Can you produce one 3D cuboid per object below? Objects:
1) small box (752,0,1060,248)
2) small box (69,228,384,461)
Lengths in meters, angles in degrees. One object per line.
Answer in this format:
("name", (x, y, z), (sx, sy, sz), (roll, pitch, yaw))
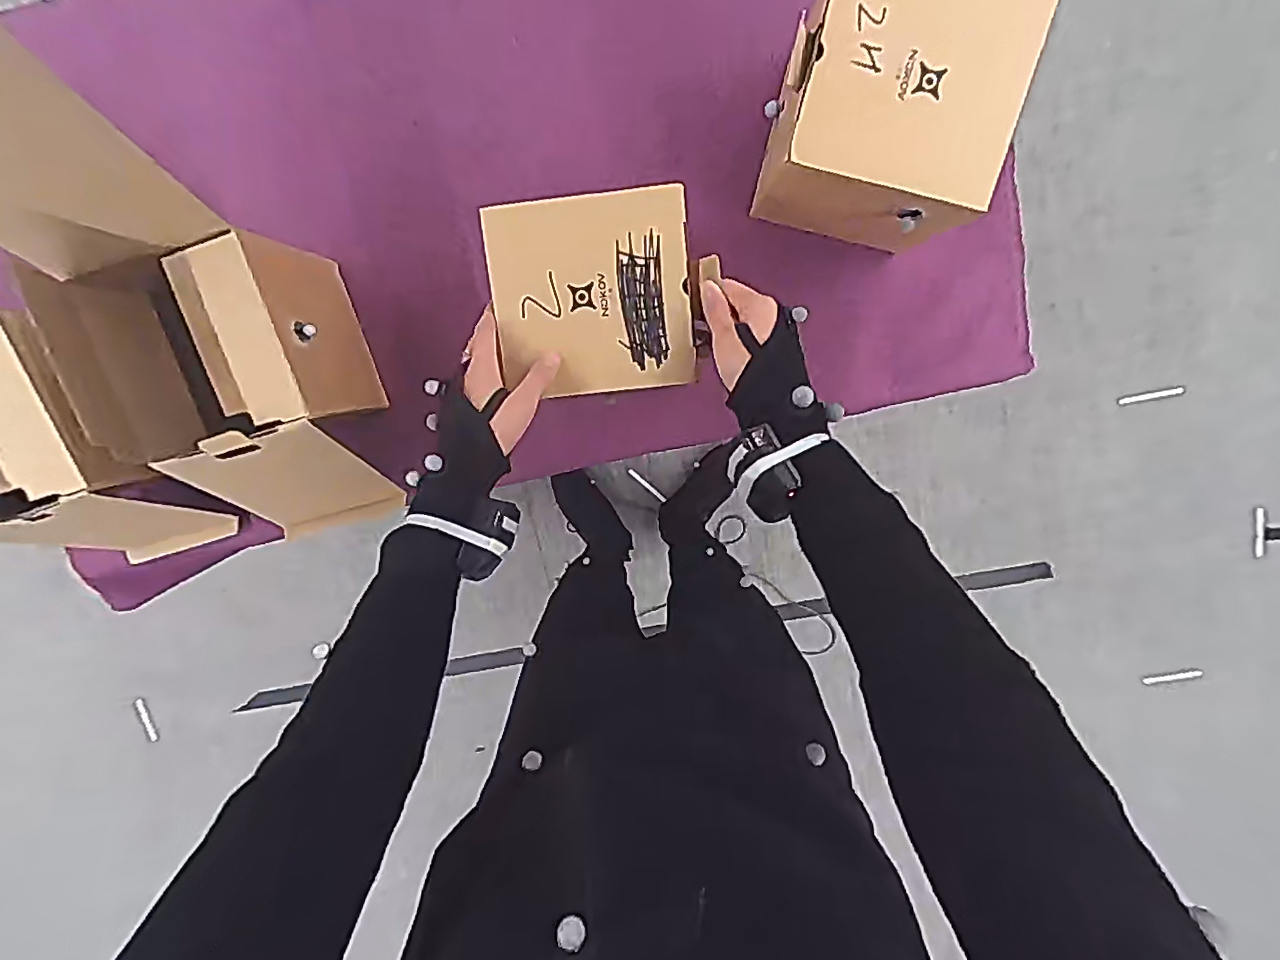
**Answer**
("small box", (0.222, -0.332, 0.506), (0.179, 0.176, 0.168), (14, 102, -1))
("small box", (-0.403, -0.135, 0.565), (0.168, 0.176, 0.179), (-14, 101, 3))
